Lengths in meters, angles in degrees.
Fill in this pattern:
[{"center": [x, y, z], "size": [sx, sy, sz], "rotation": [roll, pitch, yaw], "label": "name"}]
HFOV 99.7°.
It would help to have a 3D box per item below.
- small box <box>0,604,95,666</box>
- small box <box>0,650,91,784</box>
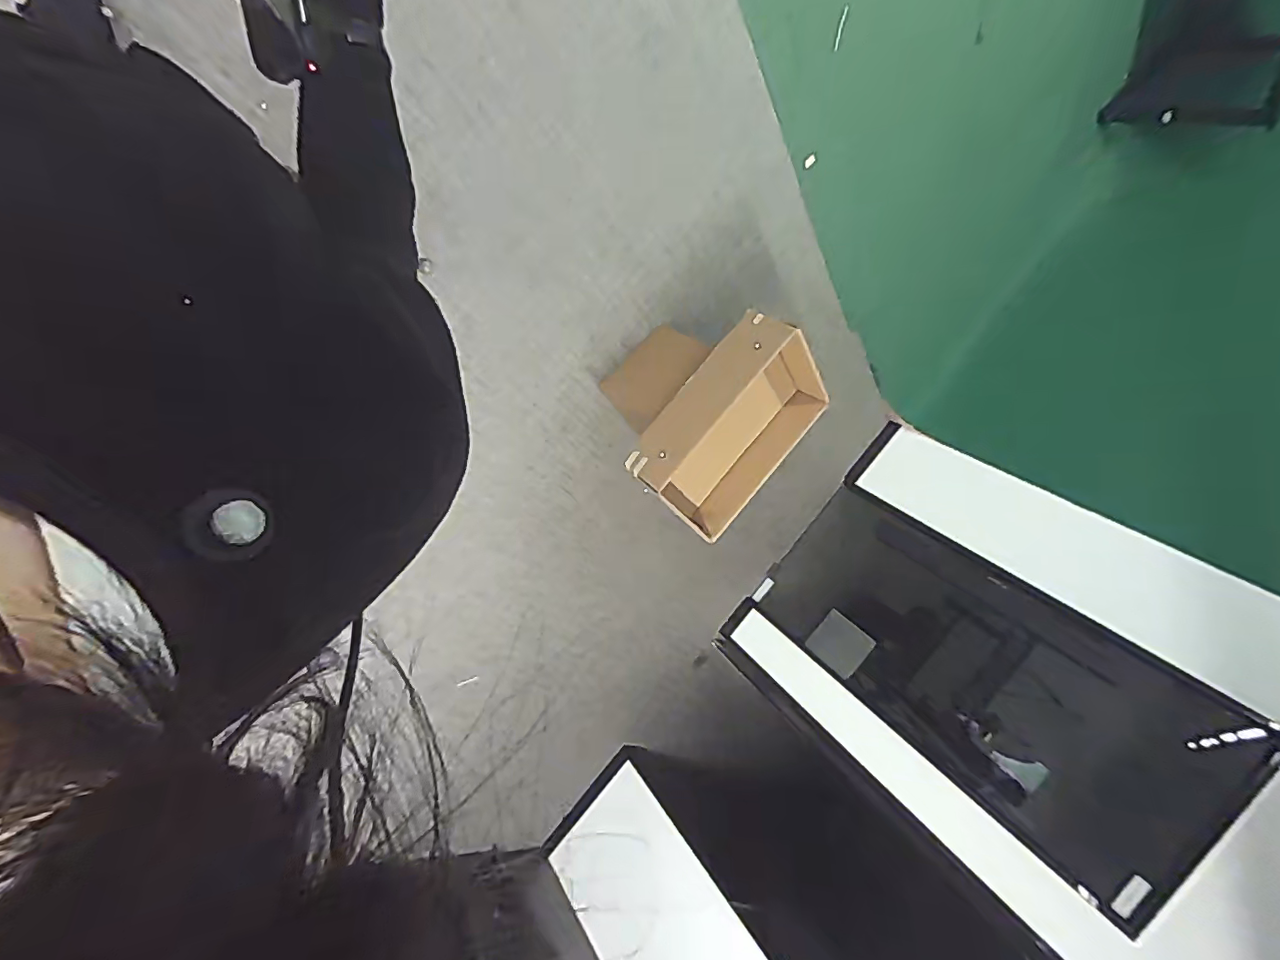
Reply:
[{"center": [-1.367, 0.398, 1.196], "size": [0.168, 0.176, 0.179], "rotation": [-50, 140, 0], "label": "small box"}, {"center": [-1.267, 0.478, 1.094], "size": [0.179, 0.176, 0.168], "rotation": [-49, 140, -1], "label": "small box"}]
